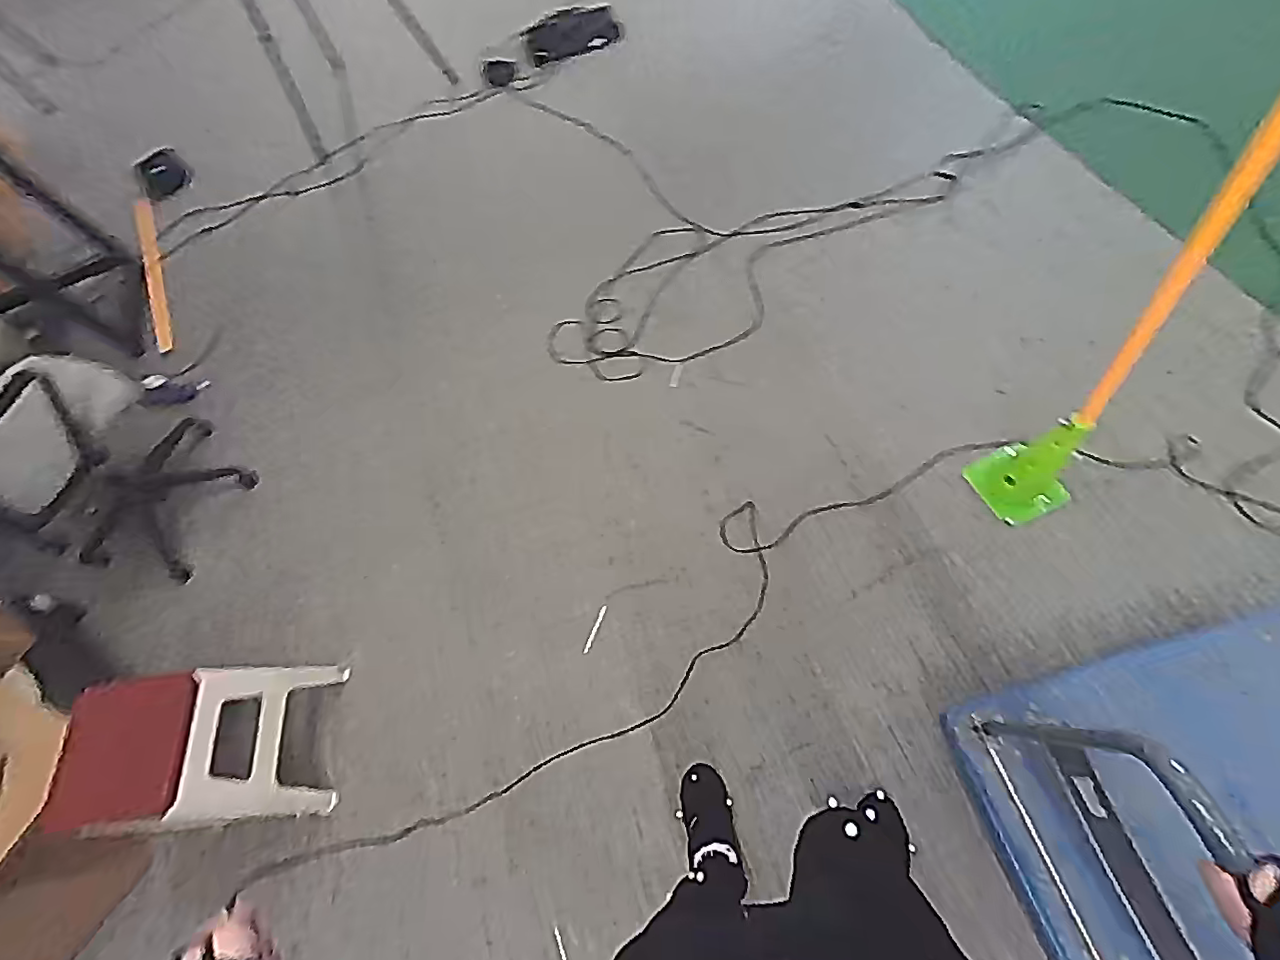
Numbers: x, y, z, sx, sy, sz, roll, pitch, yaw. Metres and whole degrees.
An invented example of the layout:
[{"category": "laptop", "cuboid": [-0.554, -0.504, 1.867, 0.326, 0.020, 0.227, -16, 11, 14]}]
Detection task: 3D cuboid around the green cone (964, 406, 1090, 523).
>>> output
[{"category": "green cone", "cuboid": [1.015, -0.070, 1.353, 0.200, 0.368, 0.202, -26, 63, -2]}]
